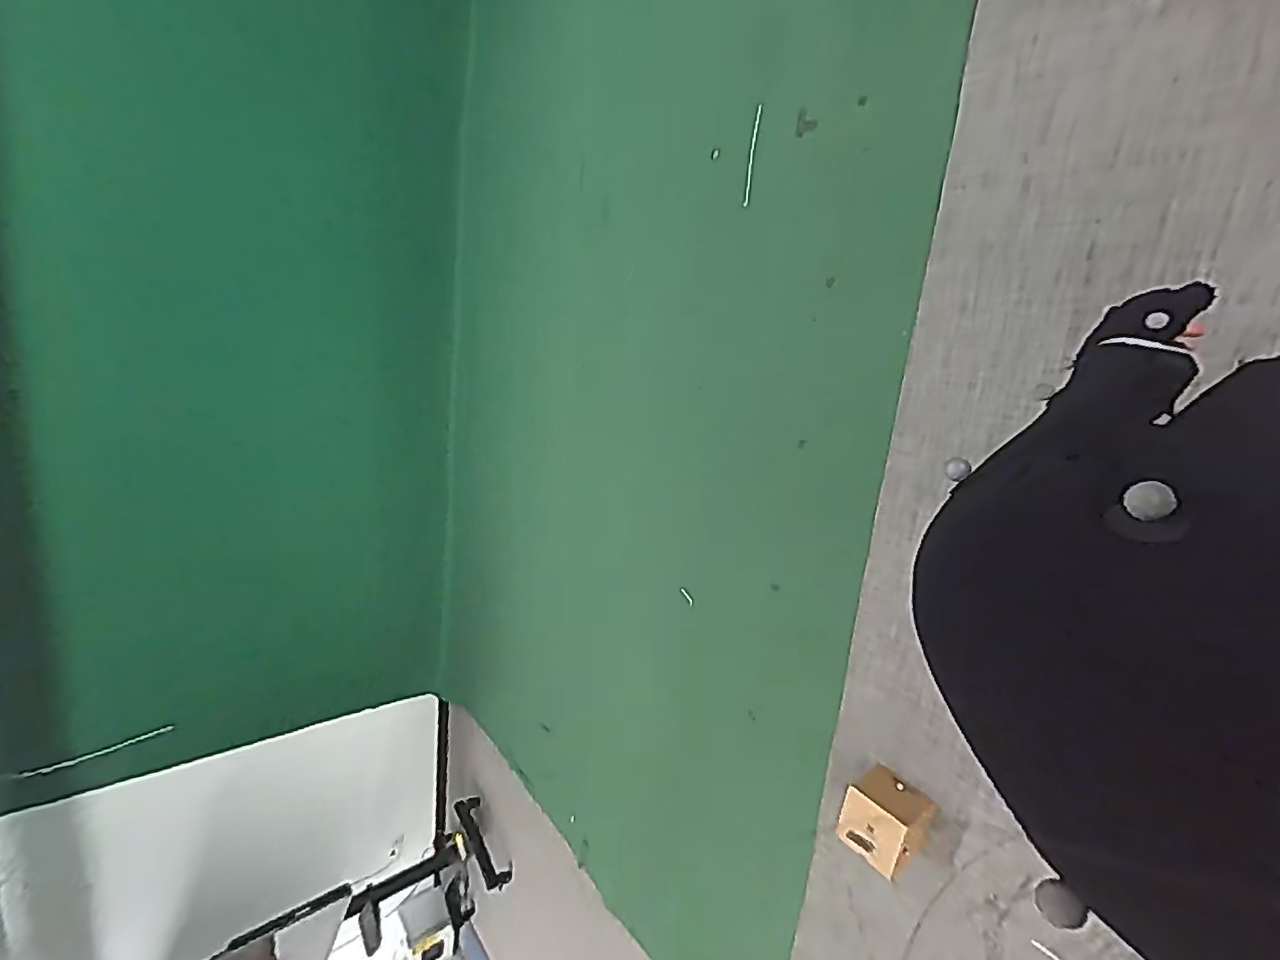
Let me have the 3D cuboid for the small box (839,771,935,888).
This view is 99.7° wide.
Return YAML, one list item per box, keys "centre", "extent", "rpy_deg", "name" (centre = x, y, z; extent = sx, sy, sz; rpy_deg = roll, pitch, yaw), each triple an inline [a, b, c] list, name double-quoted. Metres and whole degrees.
- centre: [0.680, 0.949, 1.483]
  extent: [0.168, 0.176, 0.179]
  rpy_deg: [24, 109, 47]
  name: "small box"
